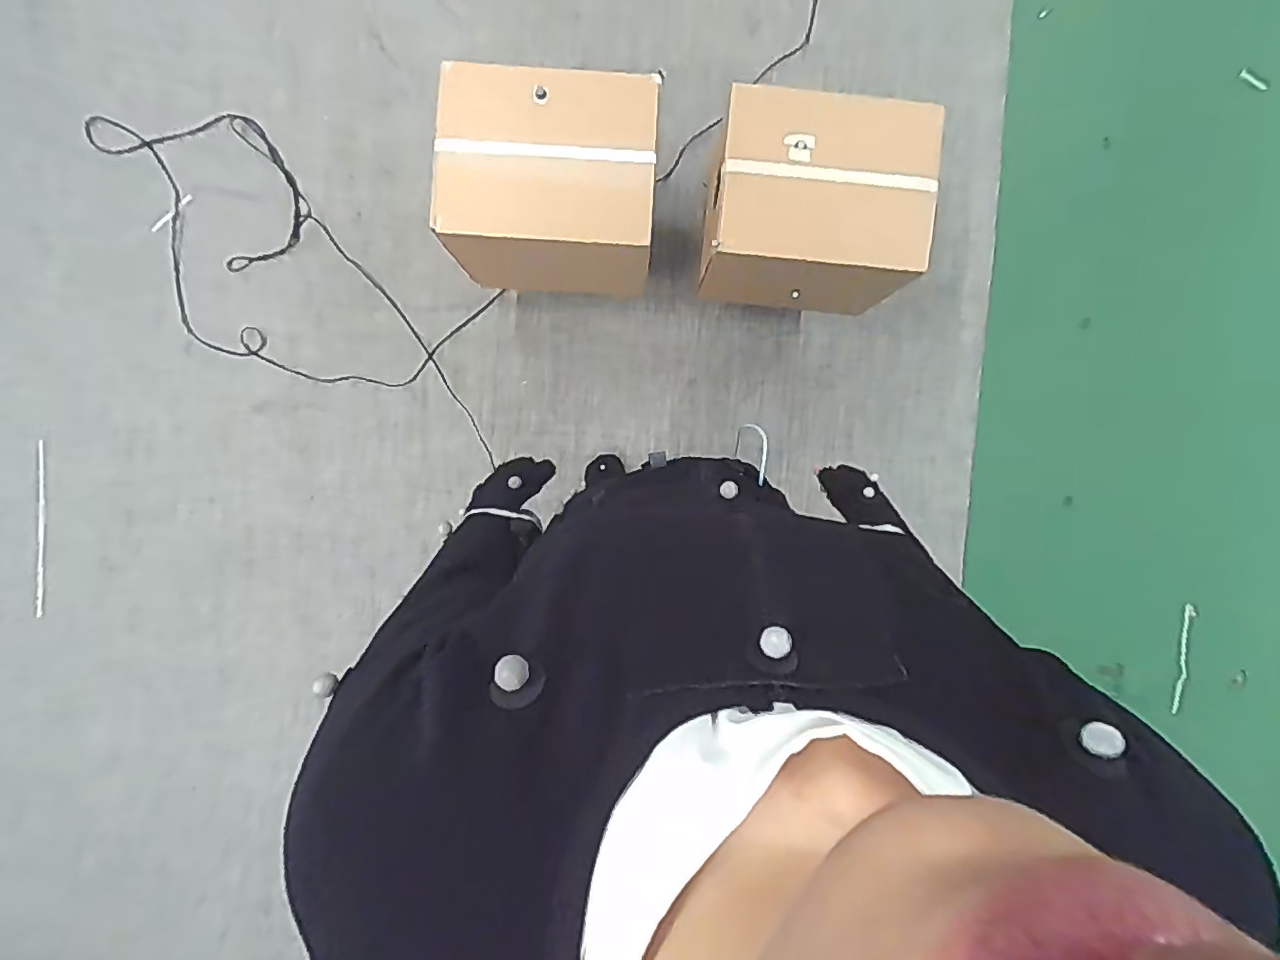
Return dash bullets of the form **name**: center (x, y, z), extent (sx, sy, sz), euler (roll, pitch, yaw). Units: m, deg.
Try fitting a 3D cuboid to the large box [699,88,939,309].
- **large box**: center (0.356, -0.575, 1.171), extent (0.408, 0.320, 0.320), euler (5, 92, -1)
